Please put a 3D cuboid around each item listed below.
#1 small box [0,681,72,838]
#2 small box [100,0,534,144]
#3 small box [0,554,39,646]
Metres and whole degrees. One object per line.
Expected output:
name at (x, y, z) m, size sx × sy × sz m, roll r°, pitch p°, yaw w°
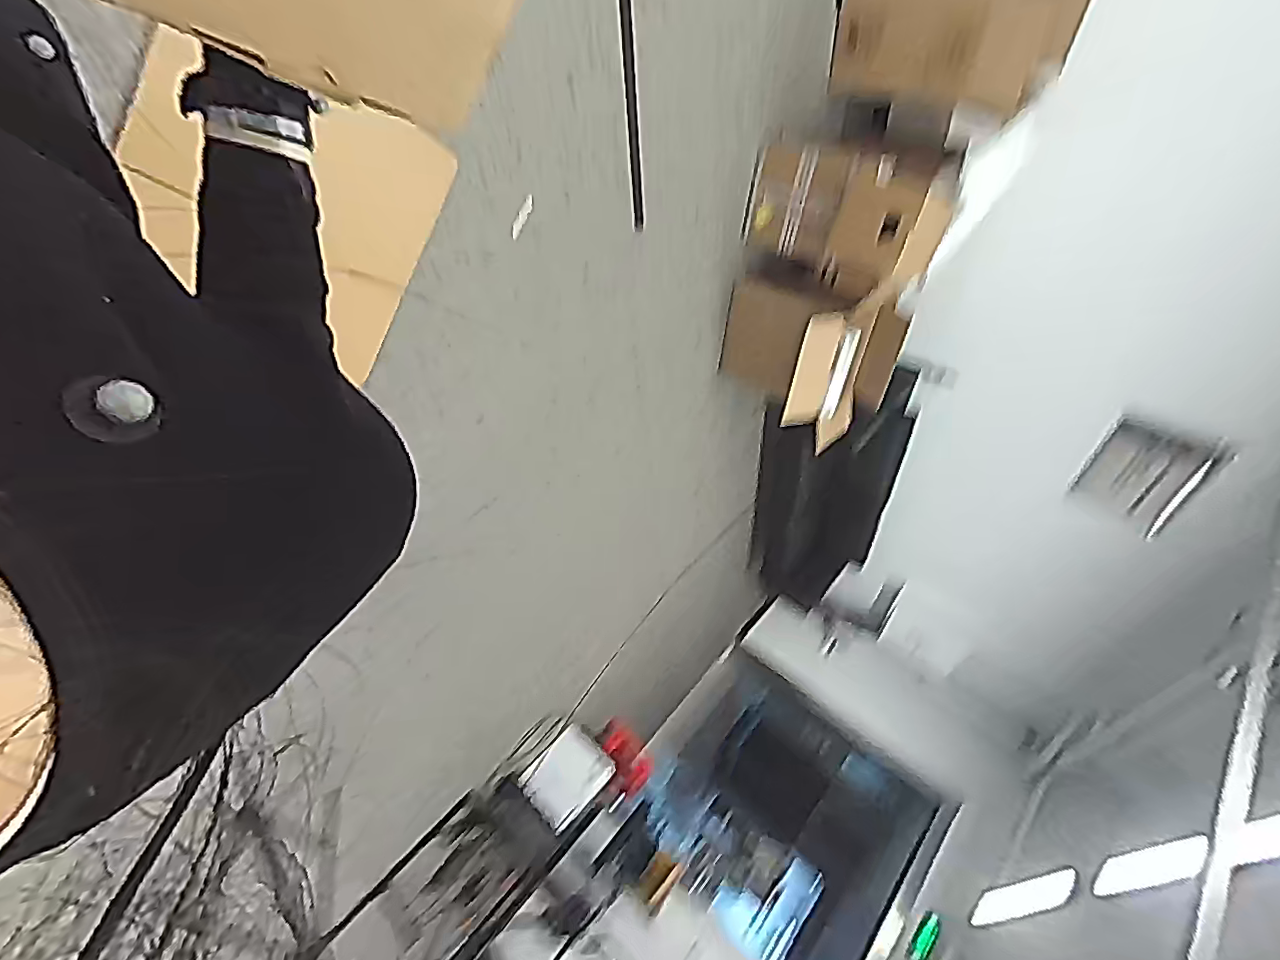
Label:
small box at (-0.836, 0.337, 0.626) m, size 0.168 × 0.176 × 0.179 m, roll -40°, pitch 146°, yaw -28°
small box at (-0.148, -0.301, 0.232) m, size 0.179 × 0.176 × 0.168 m, roll -43°, pitch 169°, yaw 33°
small box at (-1.070, 0.178, 0.795) m, size 0.168 × 0.176 × 0.179 m, roll -41°, pitch 147°, yaw -25°
